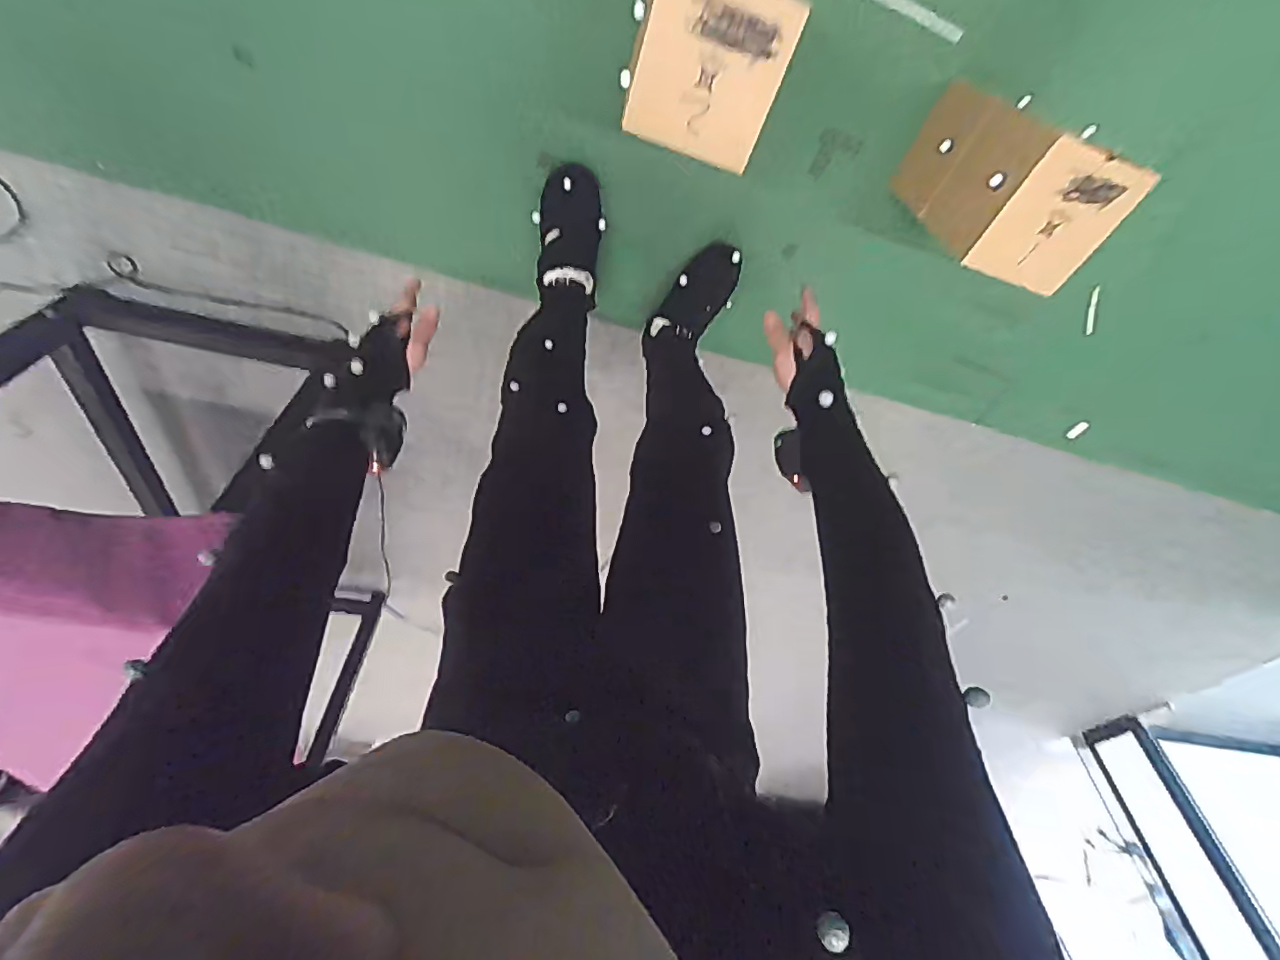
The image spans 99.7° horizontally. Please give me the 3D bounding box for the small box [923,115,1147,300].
[{"bbox_3d":[0.560,-0.404,0.799,0.168,0.176,0.179,13,134,-13],"label":"small box"}]

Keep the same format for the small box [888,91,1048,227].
[{"bbox_3d":[0.556,-0.521,0.915,0.168,0.176,0.179,13,133,-14],"label":"small box"}]

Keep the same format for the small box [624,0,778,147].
[{"bbox_3d":[0.081,-0.636,0.801,0.168,0.176,0.179,13,133,-12],"label":"small box"}]
